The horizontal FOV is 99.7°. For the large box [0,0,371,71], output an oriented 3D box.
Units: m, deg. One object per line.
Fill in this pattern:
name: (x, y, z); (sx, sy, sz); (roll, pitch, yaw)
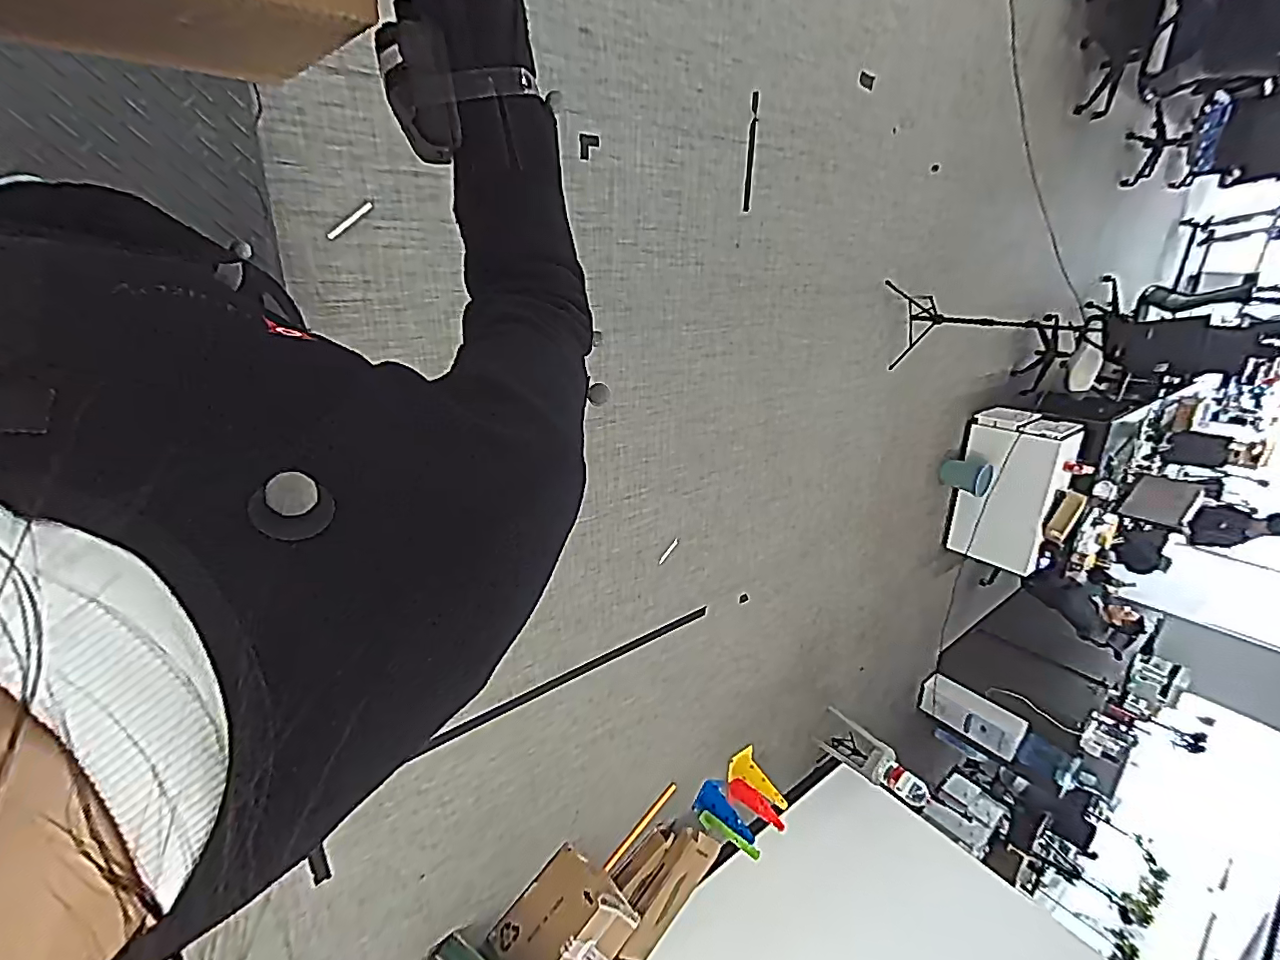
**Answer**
large box: (-0.387, -0.401, 0.217); (0.408, 0.320, 0.320); (-18, 126, -36)
